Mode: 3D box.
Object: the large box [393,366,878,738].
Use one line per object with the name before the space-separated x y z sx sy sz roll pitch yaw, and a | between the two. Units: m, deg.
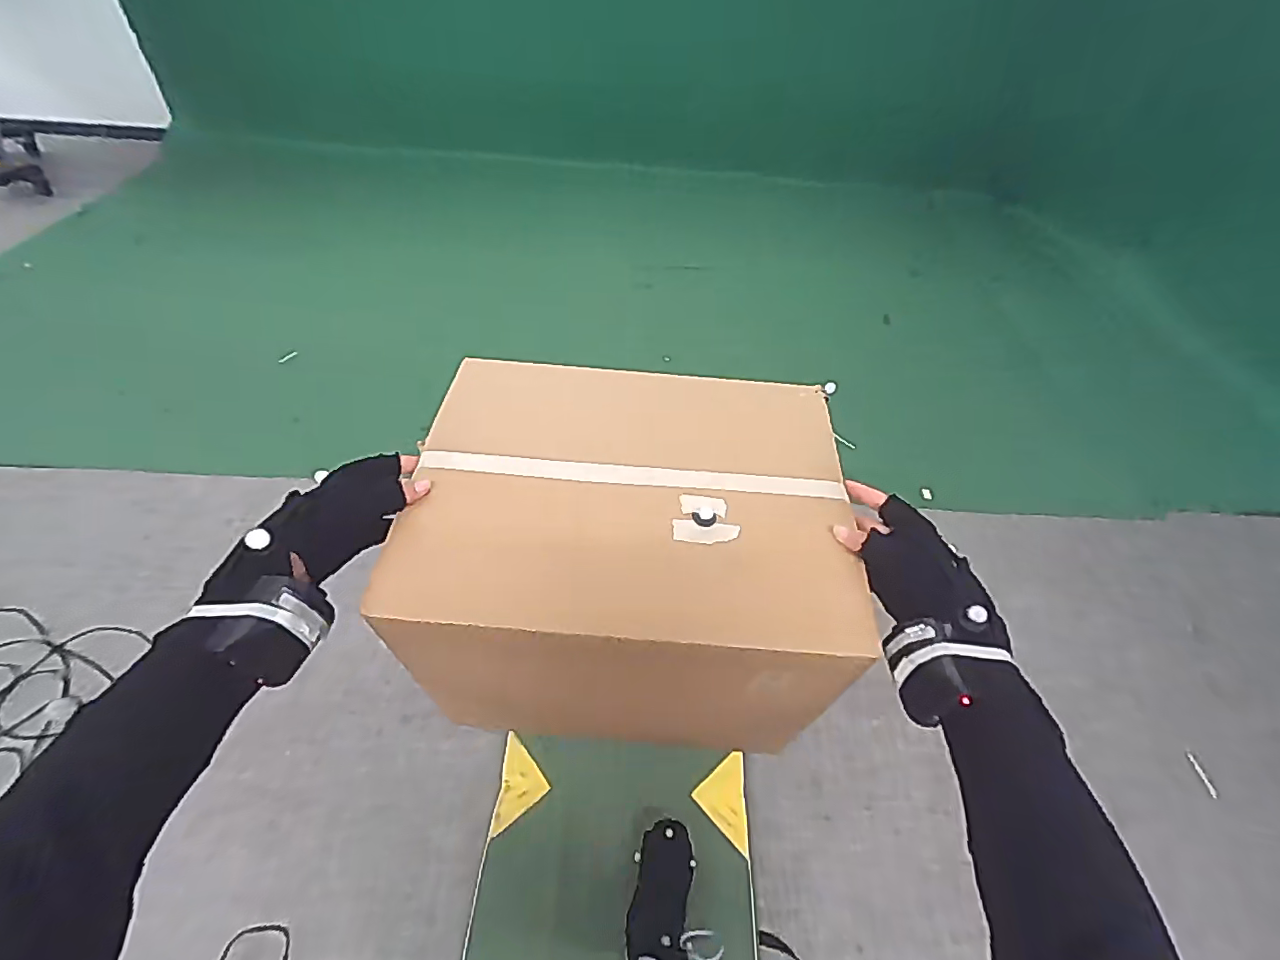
large box | -0.006 0.094 0.642 0.408 0.320 0.320 5 52 -1
